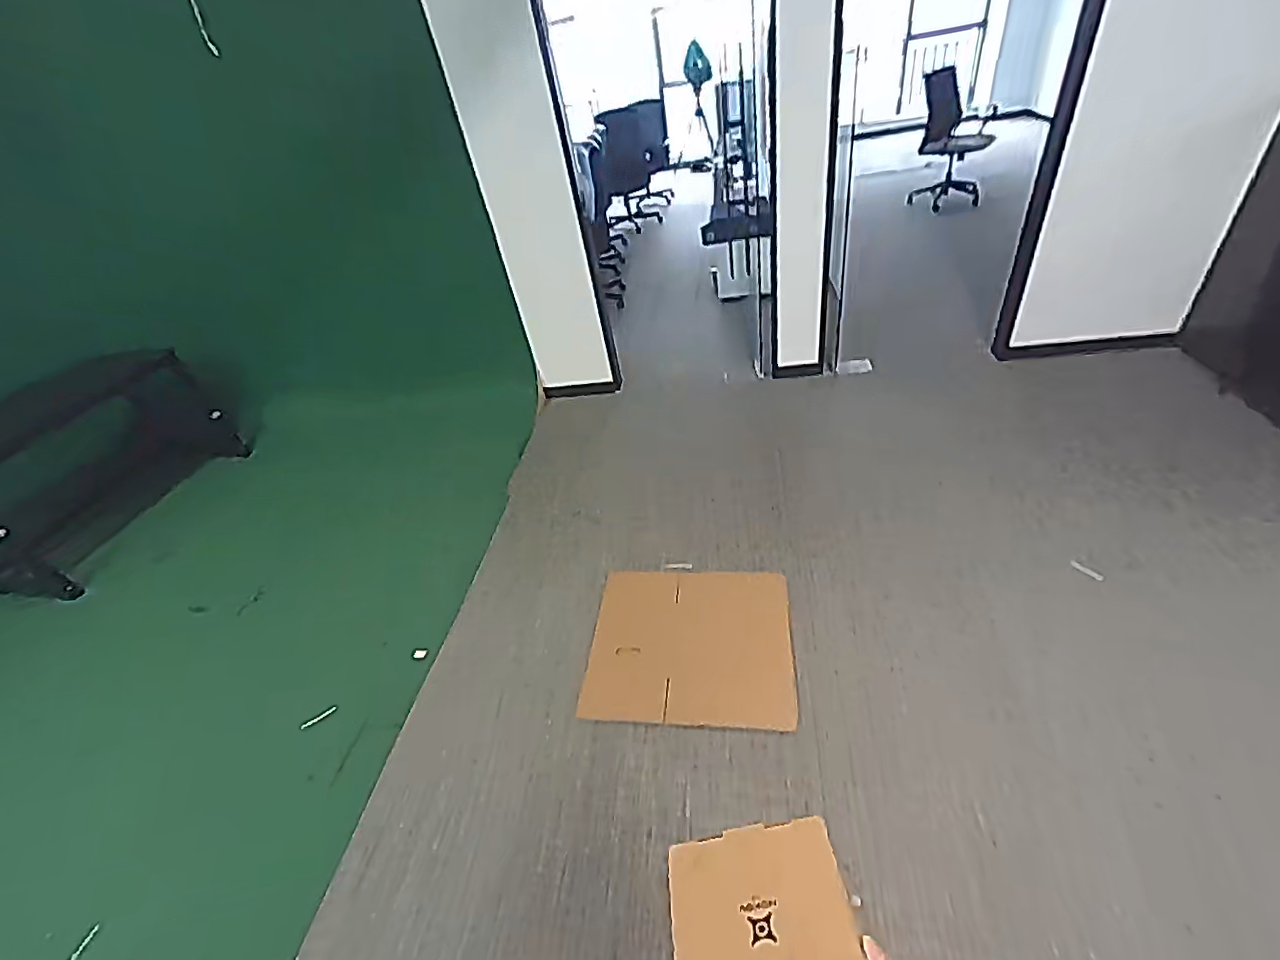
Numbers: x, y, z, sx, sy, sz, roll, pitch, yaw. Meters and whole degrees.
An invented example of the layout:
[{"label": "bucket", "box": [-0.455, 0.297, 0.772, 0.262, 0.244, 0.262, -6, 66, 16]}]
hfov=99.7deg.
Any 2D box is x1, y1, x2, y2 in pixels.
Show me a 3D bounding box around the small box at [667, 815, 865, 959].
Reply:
[{"label": "small box", "box": [0.126, 0.466, 0.512, 0.168, 0.176, 0.179, -15, 22, 6]}]
